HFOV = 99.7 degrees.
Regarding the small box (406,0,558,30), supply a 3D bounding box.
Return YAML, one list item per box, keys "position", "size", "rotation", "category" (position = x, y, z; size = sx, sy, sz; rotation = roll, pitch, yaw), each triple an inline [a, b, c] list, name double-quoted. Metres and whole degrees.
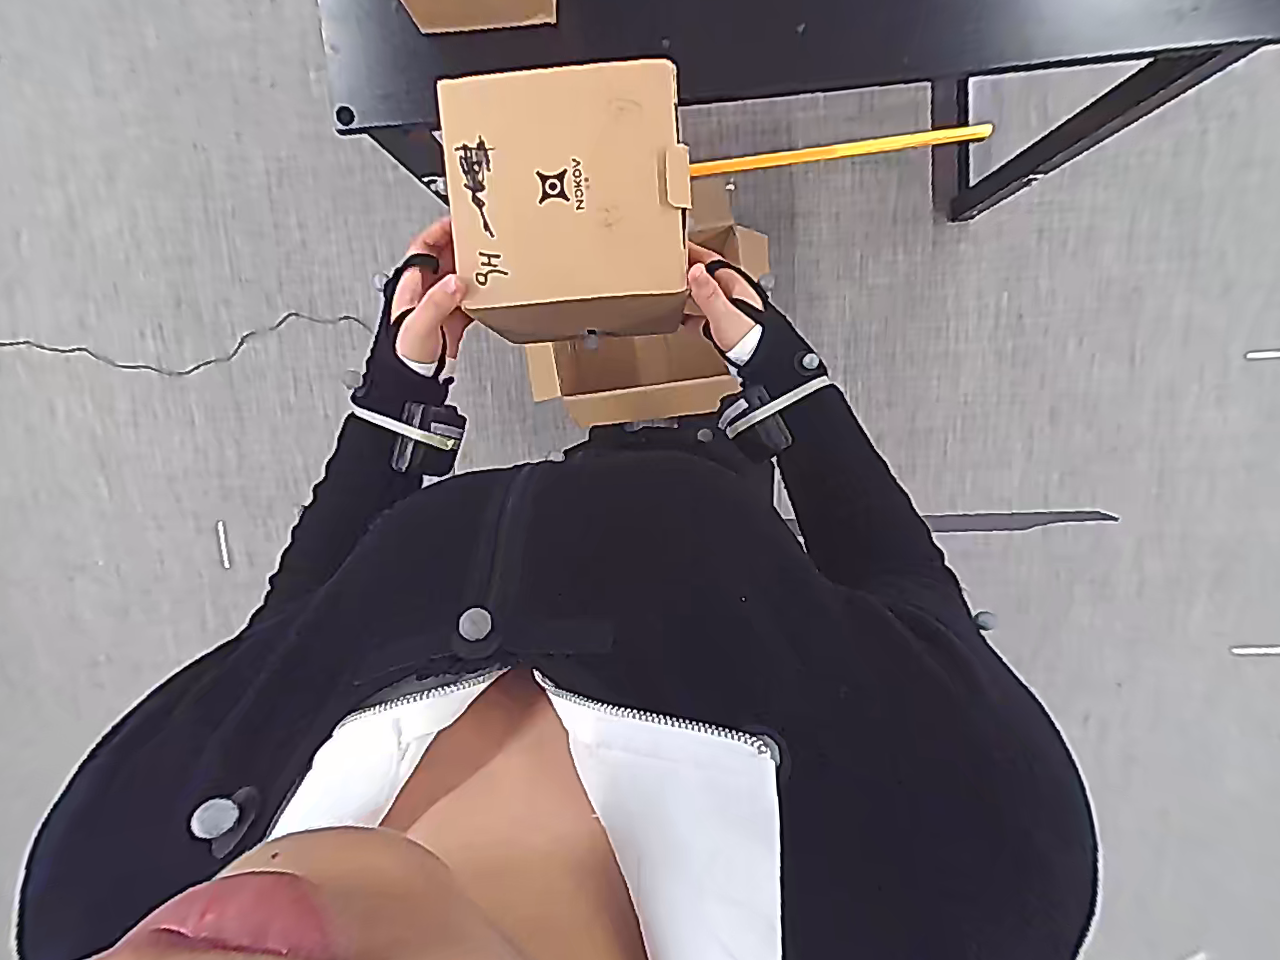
- position: [-0.193, -0.628, 0.581]
  size: [0.179, 0.176, 0.168]
  rotation: [-3, 99, 2]
  category: "small box"
